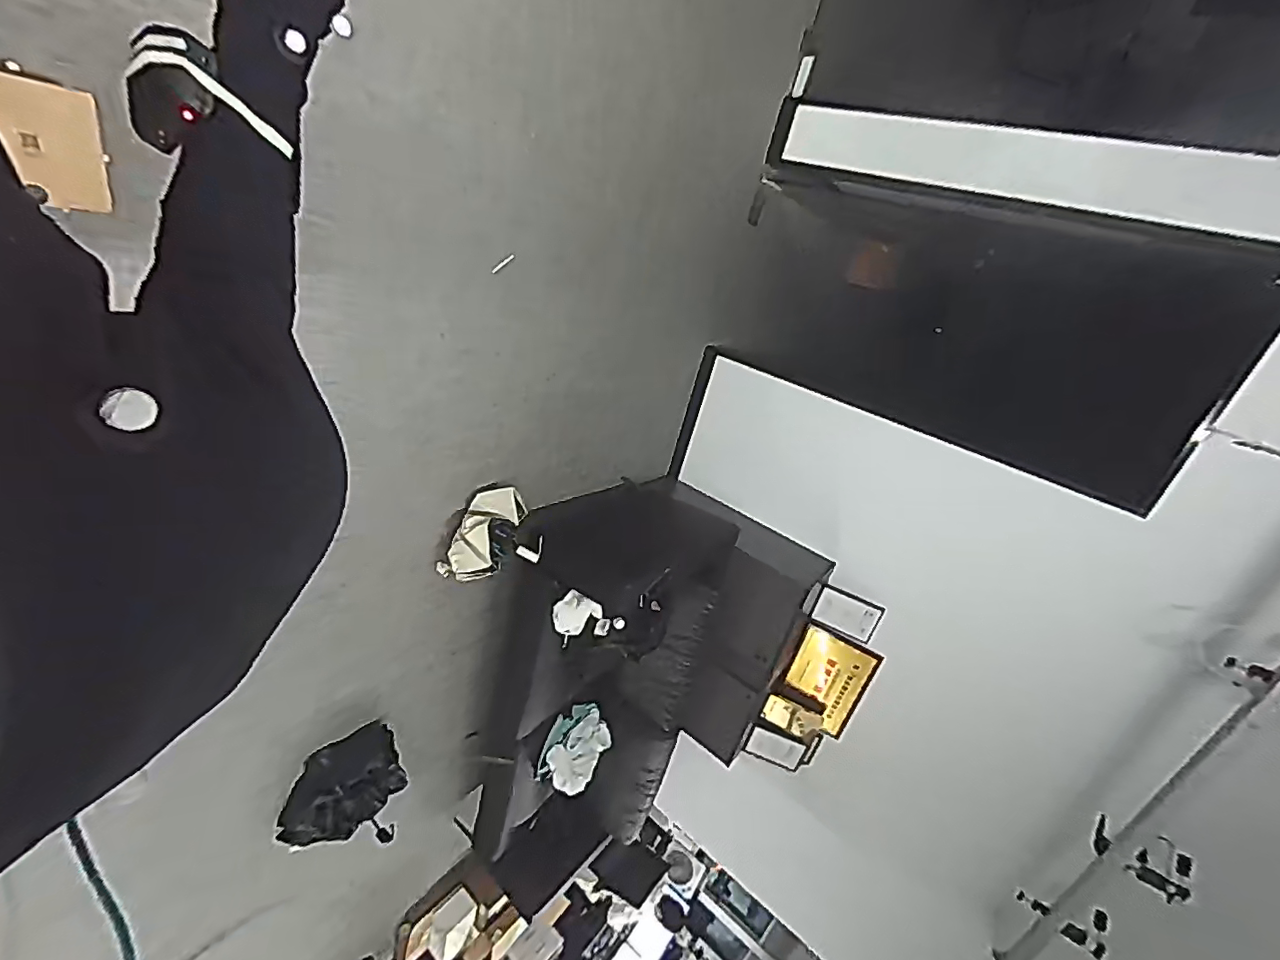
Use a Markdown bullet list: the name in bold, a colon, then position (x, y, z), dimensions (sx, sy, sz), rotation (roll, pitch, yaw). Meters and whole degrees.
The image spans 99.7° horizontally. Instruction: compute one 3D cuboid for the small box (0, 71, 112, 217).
- **small box**: position (-0.988, -0.542, 0.862), dimensions (0.168, 0.176, 0.179), rotation (-20, 132, -51)
